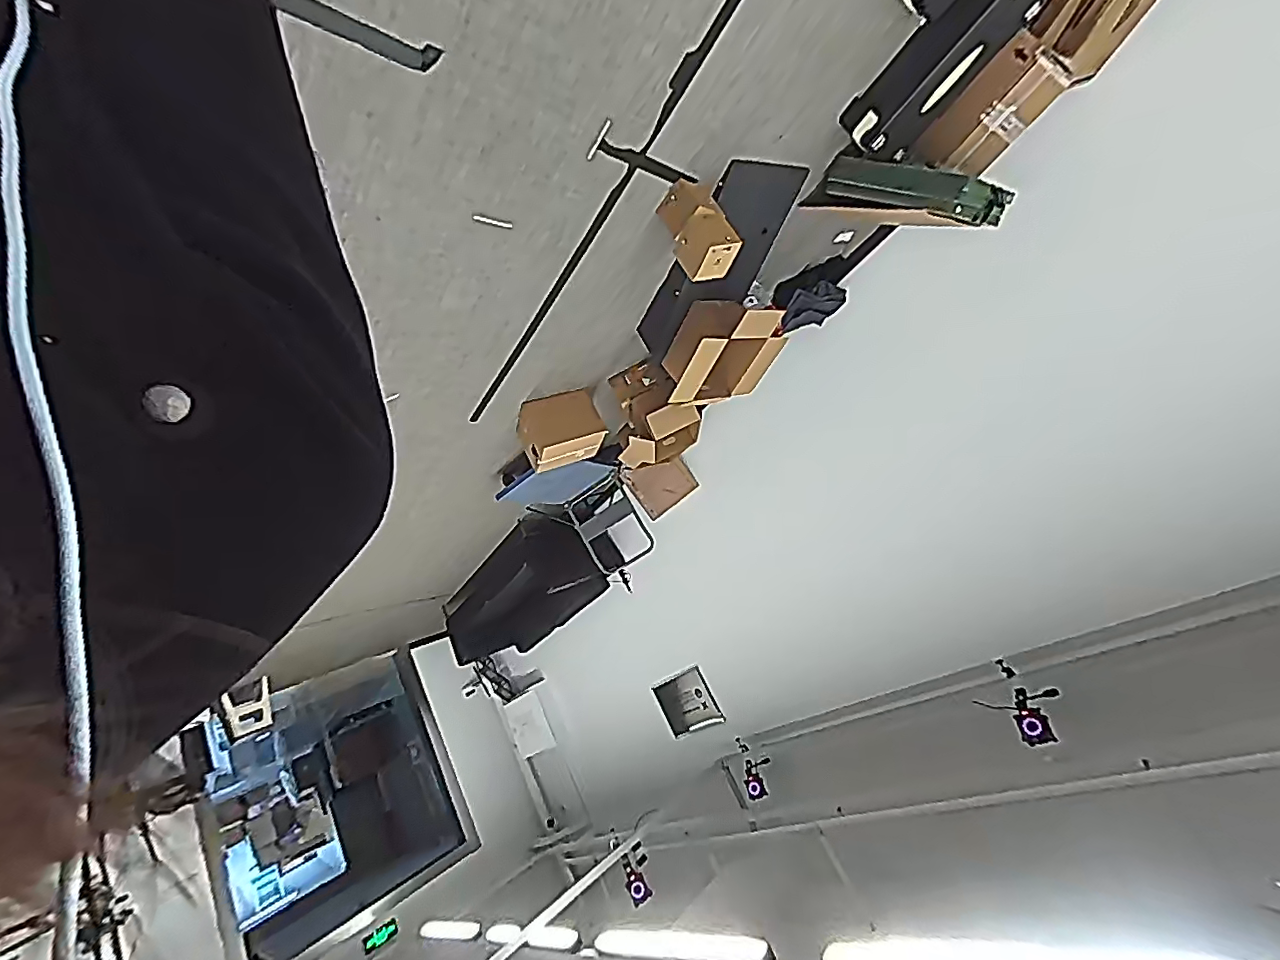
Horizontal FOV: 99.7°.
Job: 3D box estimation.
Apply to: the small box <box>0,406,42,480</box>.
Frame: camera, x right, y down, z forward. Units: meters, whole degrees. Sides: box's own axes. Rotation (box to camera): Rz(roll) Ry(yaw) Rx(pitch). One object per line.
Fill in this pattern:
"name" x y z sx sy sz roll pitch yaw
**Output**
"small box" -1.942 -0.112 1.623 0.168 0.176 0.179 -40 162 33
